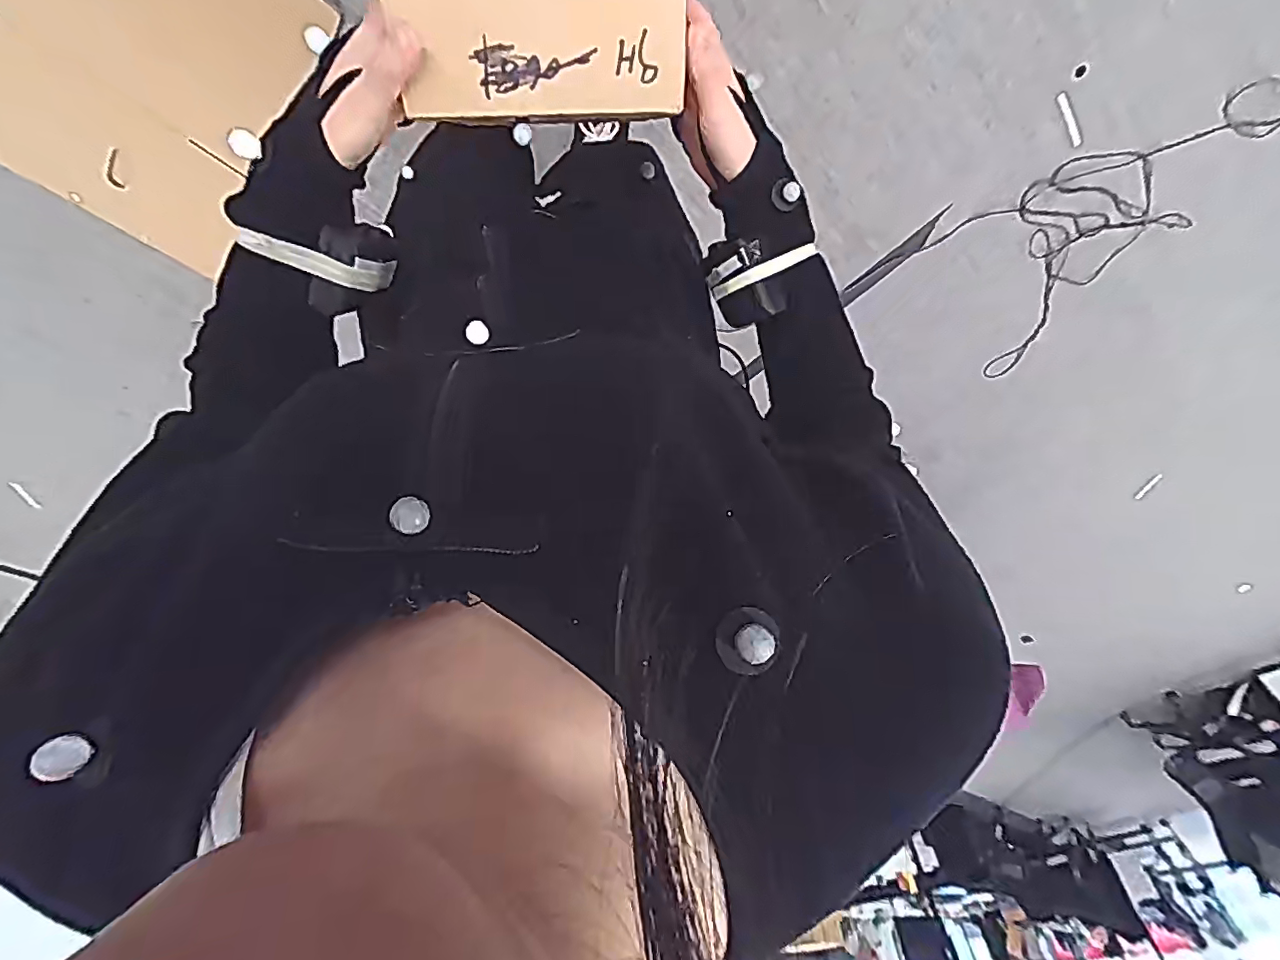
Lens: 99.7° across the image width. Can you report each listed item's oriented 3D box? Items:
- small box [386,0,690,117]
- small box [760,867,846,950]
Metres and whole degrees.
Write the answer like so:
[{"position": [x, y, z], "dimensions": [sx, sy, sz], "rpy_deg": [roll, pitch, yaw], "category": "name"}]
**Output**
[{"position": [-0.062, -0.337, 0.336], "dimensions": [0.168, 0.176, 0.179], "rpy_deg": [-4, 122, -3], "category": "small box"}, {"position": [0.476, 1.280, 1.613], "dimensions": [0.179, 0.176, 0.168], "rpy_deg": [-37, 127, 27], "category": "small box"}]
